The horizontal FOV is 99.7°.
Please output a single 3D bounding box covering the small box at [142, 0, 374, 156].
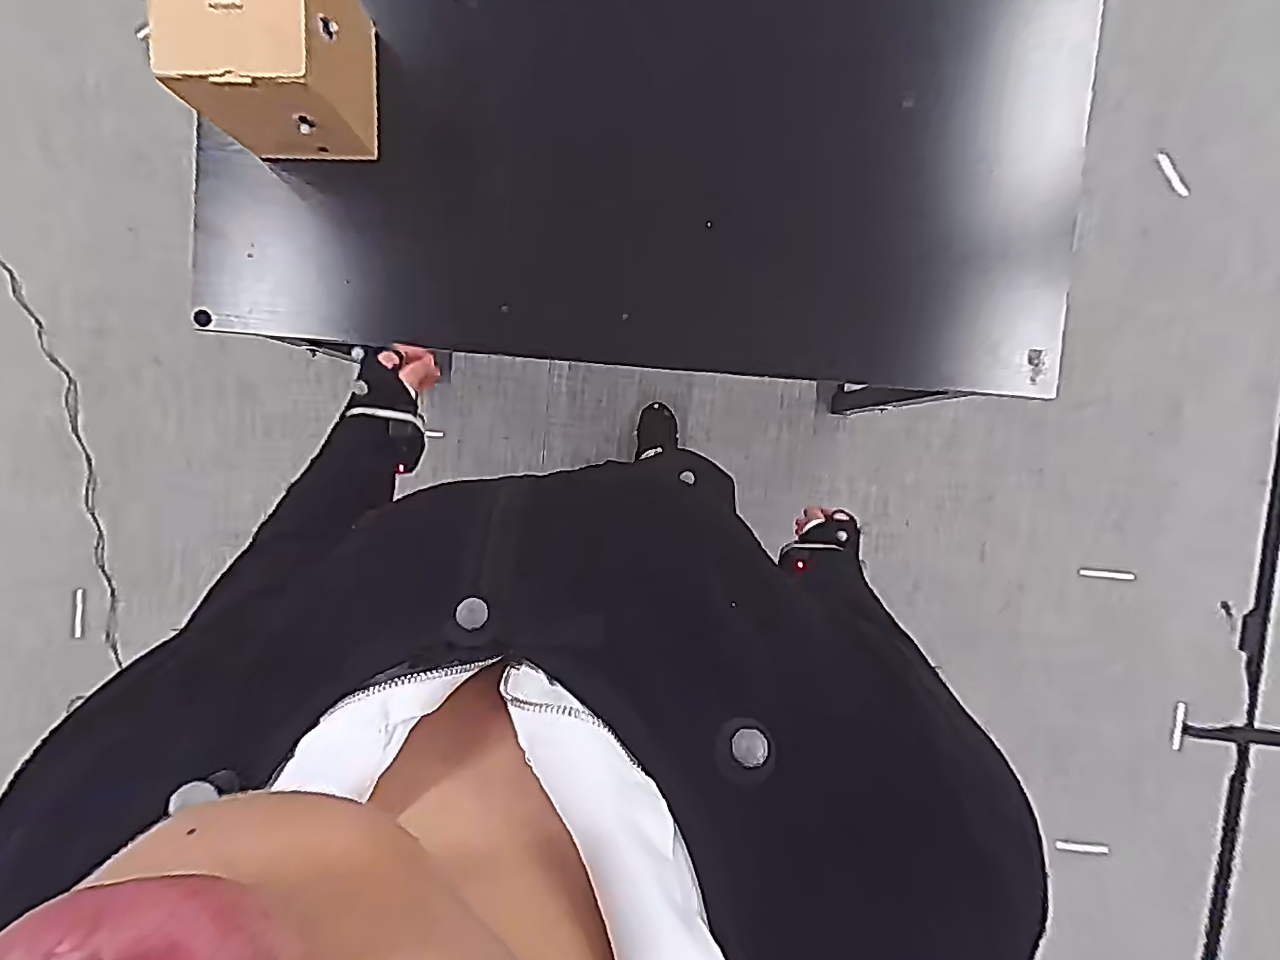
[{"bbox_3d":[-0.434,-0.514,0.640,0.168,0.176,0.179,1,93,-2],"label":"small box"}]
